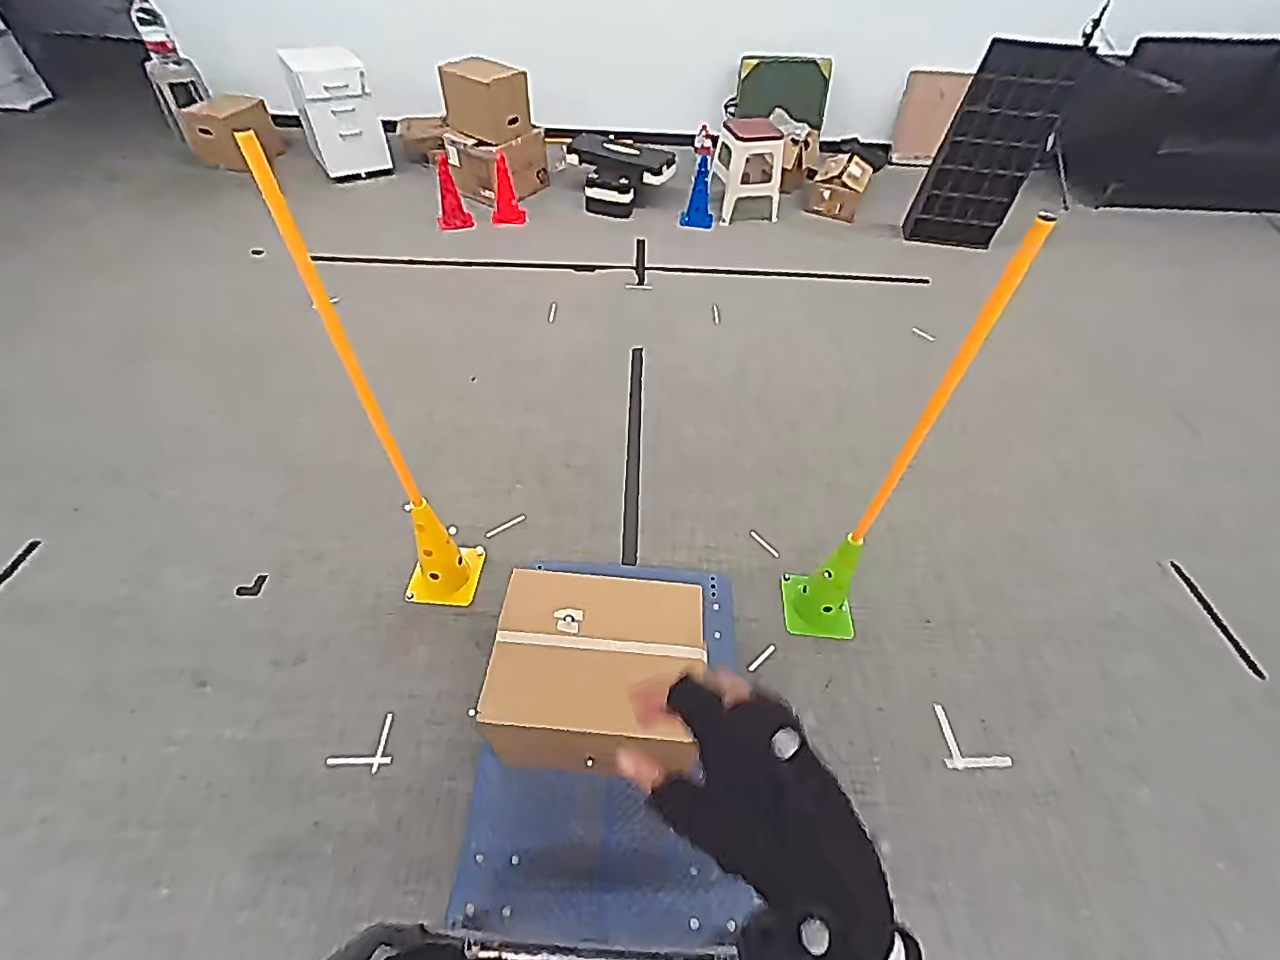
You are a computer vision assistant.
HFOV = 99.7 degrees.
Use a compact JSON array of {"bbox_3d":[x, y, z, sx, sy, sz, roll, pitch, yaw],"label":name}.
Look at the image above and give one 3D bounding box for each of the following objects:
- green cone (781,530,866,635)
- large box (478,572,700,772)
[{"bbox_3d":[0.548,0.264,1.528,0.202,0.368,0.200,6,49,0],"label":"green cone"},{"bbox_3d":[-0.085,0.421,1.171,0.408,0.320,0.320,5,50,2],"label":"large box"}]
